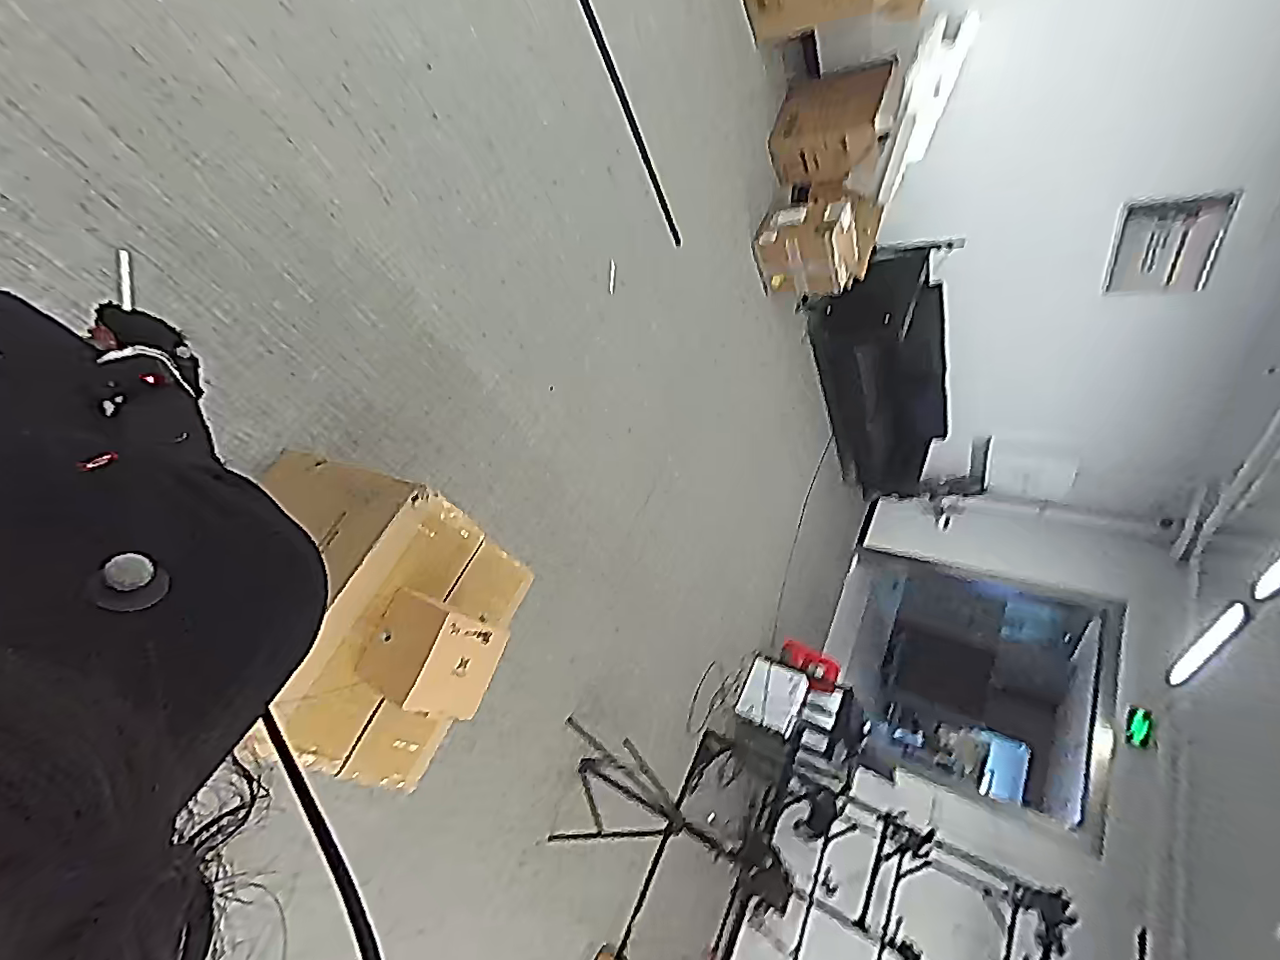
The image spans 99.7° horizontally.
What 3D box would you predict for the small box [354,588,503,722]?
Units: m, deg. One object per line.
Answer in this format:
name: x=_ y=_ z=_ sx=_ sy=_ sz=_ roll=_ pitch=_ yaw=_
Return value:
small box: x=-0.402 y=0.326 z=1.018 sx=0.168 sy=0.176 sz=0.179 roll=45 pitch=64 yaw=-49
